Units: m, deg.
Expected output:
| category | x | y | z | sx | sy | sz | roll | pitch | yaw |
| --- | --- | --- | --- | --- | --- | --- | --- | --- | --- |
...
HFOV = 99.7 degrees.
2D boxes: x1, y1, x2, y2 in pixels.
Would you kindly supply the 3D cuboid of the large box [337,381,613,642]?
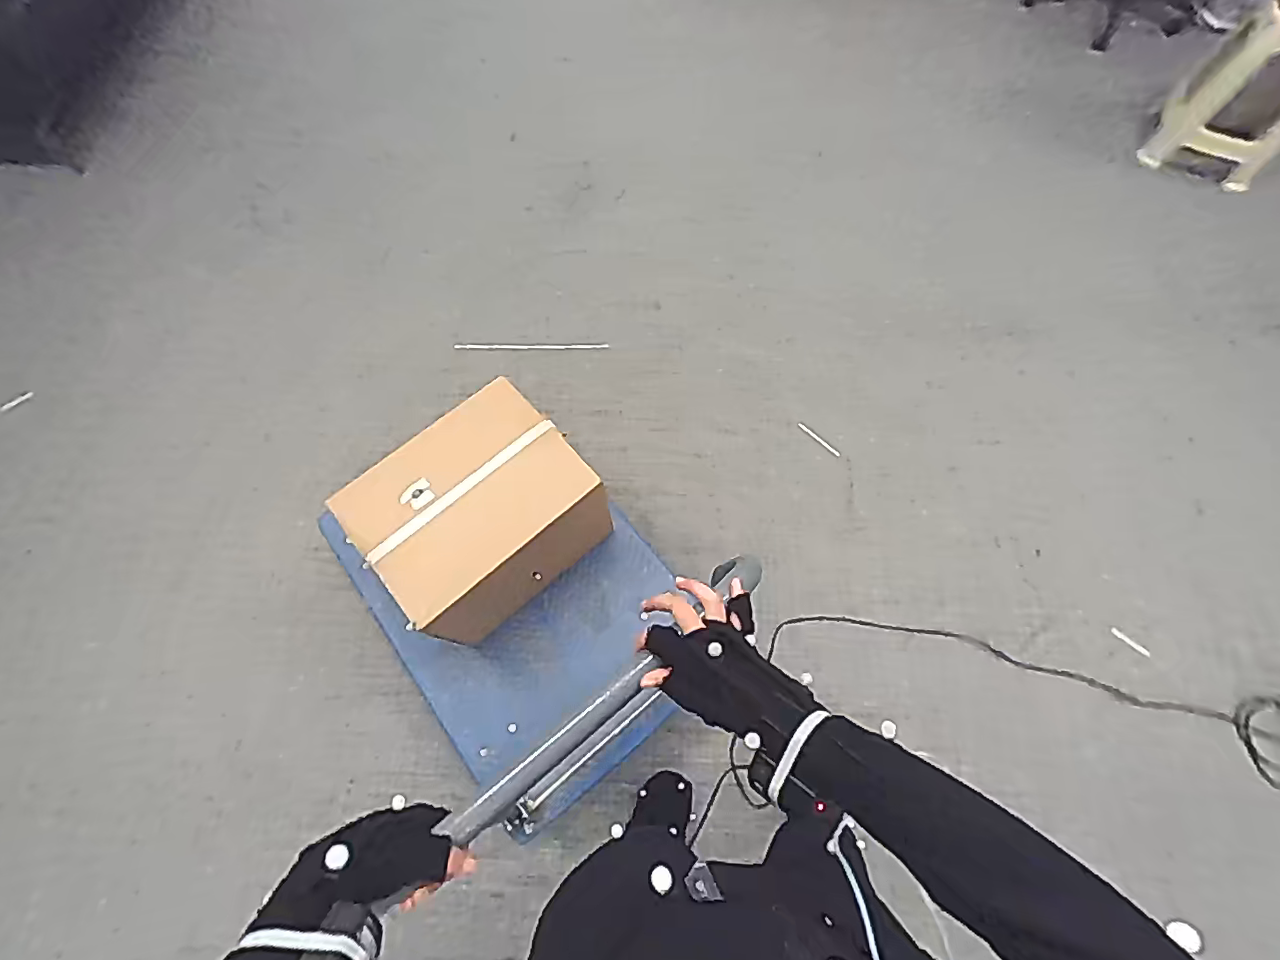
| category | x | y | z | sx | sy | sz | roll | pitch | yaw |
| --- | --- | --- | --- | --- | --- | --- | --- | --- | --- |
| large box | -0.310 | 0.080 | 1.136 | 0.408 | 0.320 | 0.320 | -41 | 71 | -12 |
